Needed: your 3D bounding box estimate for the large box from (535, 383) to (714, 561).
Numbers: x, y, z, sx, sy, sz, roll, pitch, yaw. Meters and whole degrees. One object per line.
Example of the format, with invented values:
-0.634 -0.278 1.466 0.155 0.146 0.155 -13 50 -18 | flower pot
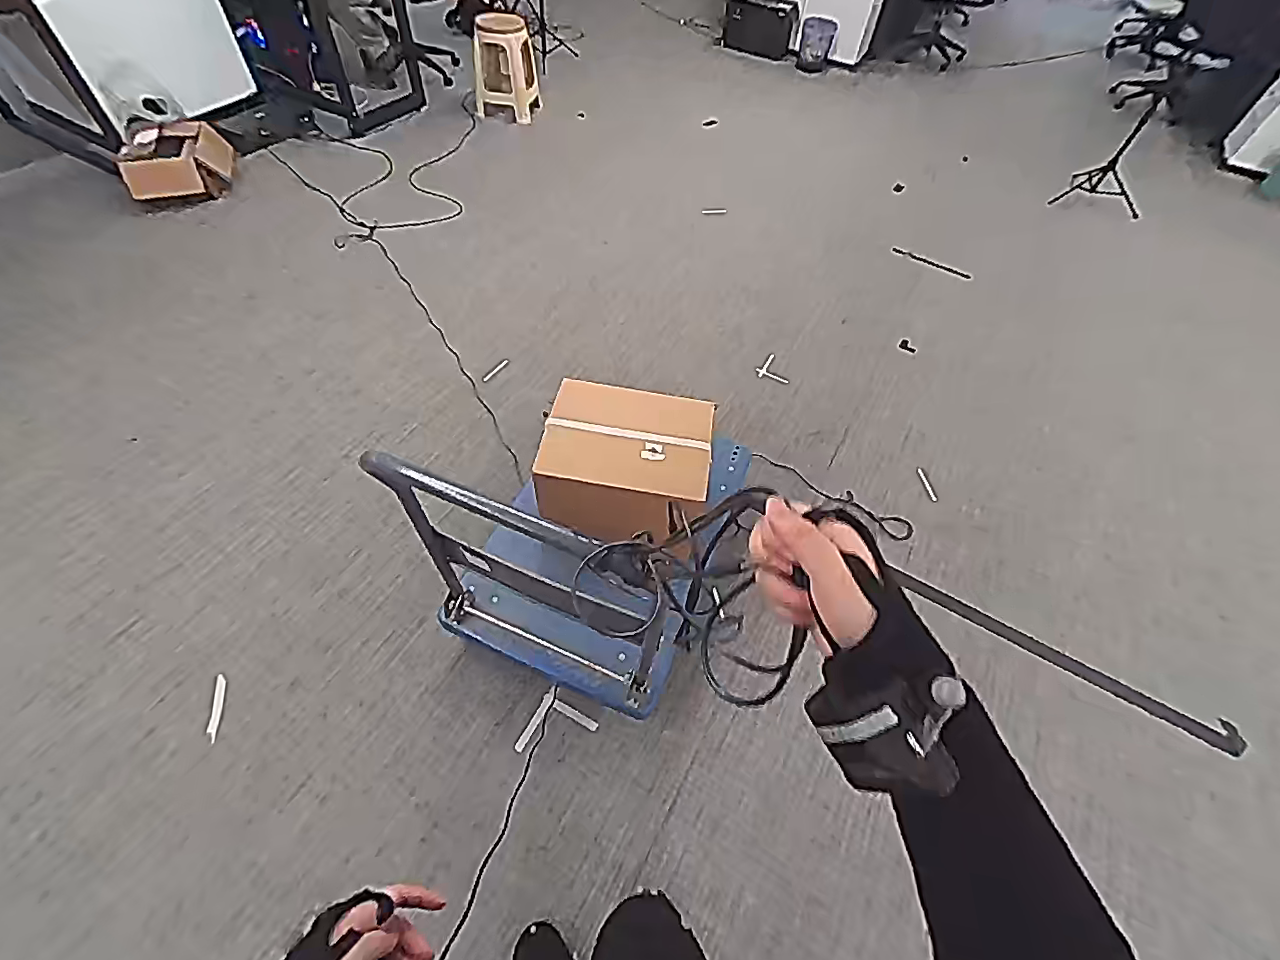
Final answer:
-0.038 -0.014 1.431 0.408 0.320 0.320 10 55 2 | large box
